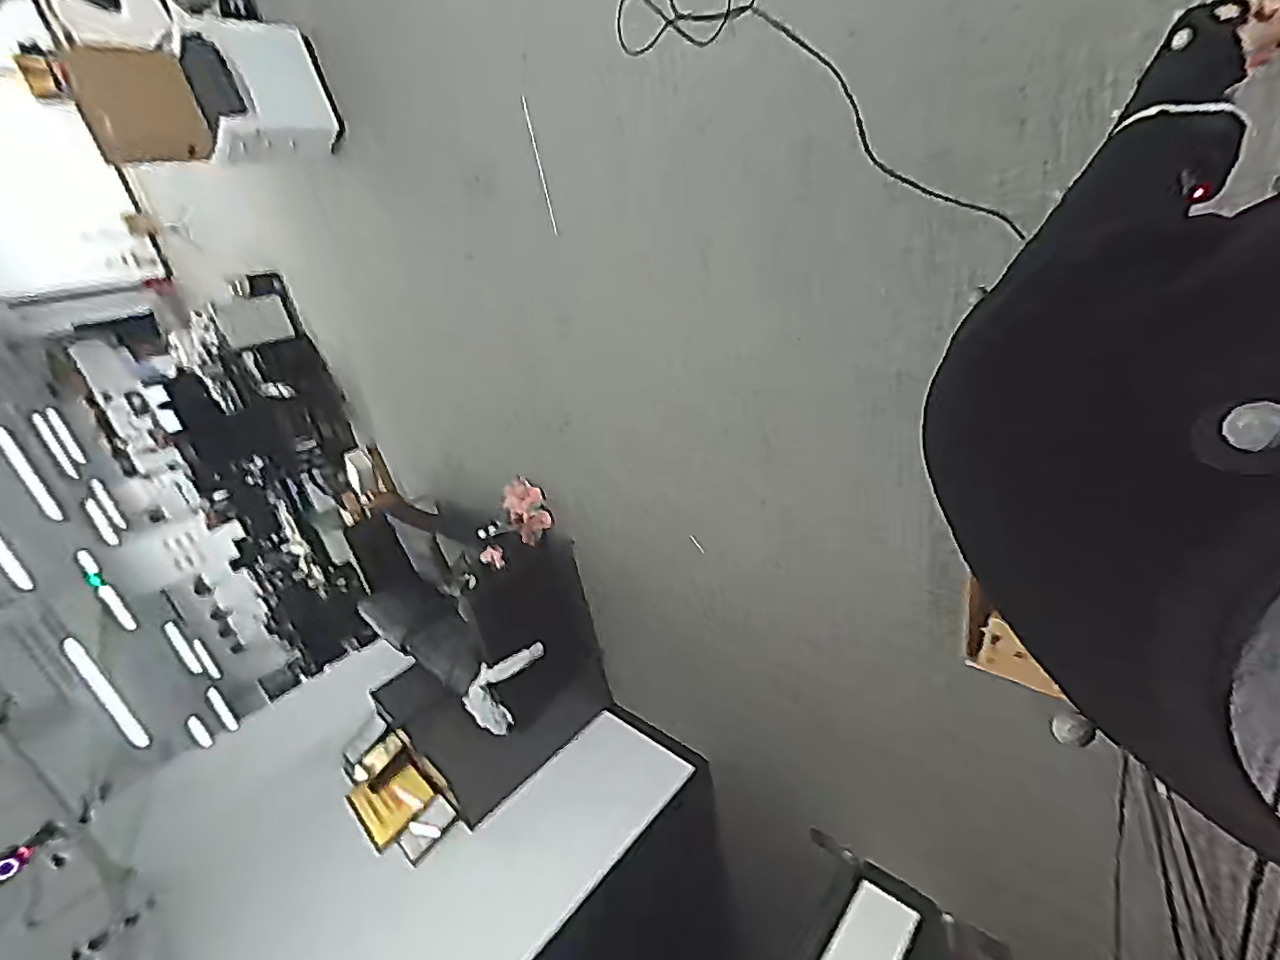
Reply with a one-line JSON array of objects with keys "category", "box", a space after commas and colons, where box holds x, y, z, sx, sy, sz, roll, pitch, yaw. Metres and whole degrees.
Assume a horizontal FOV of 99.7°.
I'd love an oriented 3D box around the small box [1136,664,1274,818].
[{"category": "small box", "box": [1.108, 0.503, 1.066, 0.168, 0.176, 0.179, 9, 119, 44]}]
